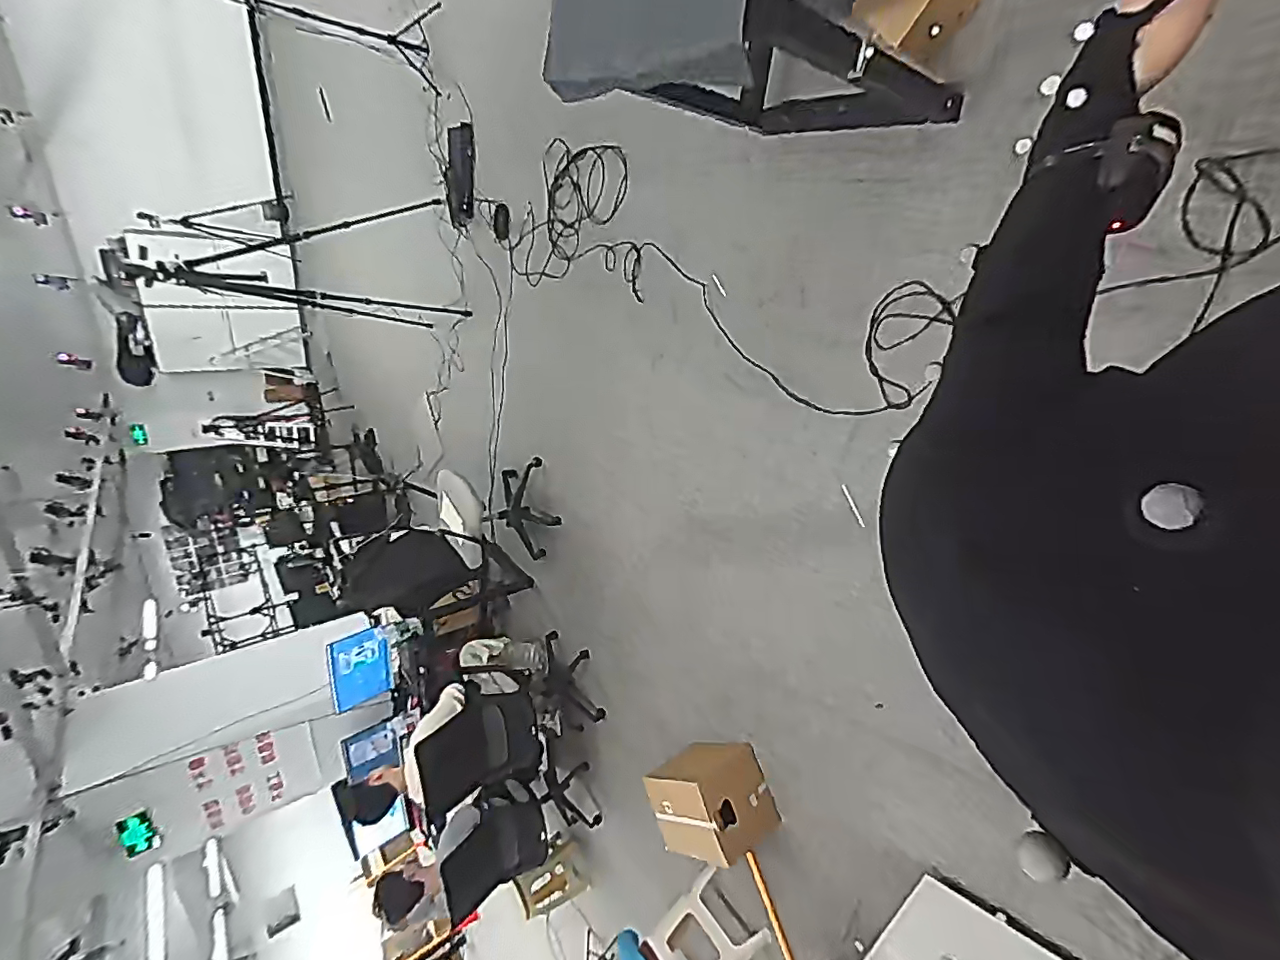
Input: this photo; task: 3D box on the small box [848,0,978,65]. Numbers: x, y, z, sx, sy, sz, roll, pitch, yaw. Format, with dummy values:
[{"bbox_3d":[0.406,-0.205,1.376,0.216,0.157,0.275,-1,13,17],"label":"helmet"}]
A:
[{"bbox_3d":[0.616,-1.072,1.209,0.179,0.176,0.168,61,140,20],"label":"small box"}]
